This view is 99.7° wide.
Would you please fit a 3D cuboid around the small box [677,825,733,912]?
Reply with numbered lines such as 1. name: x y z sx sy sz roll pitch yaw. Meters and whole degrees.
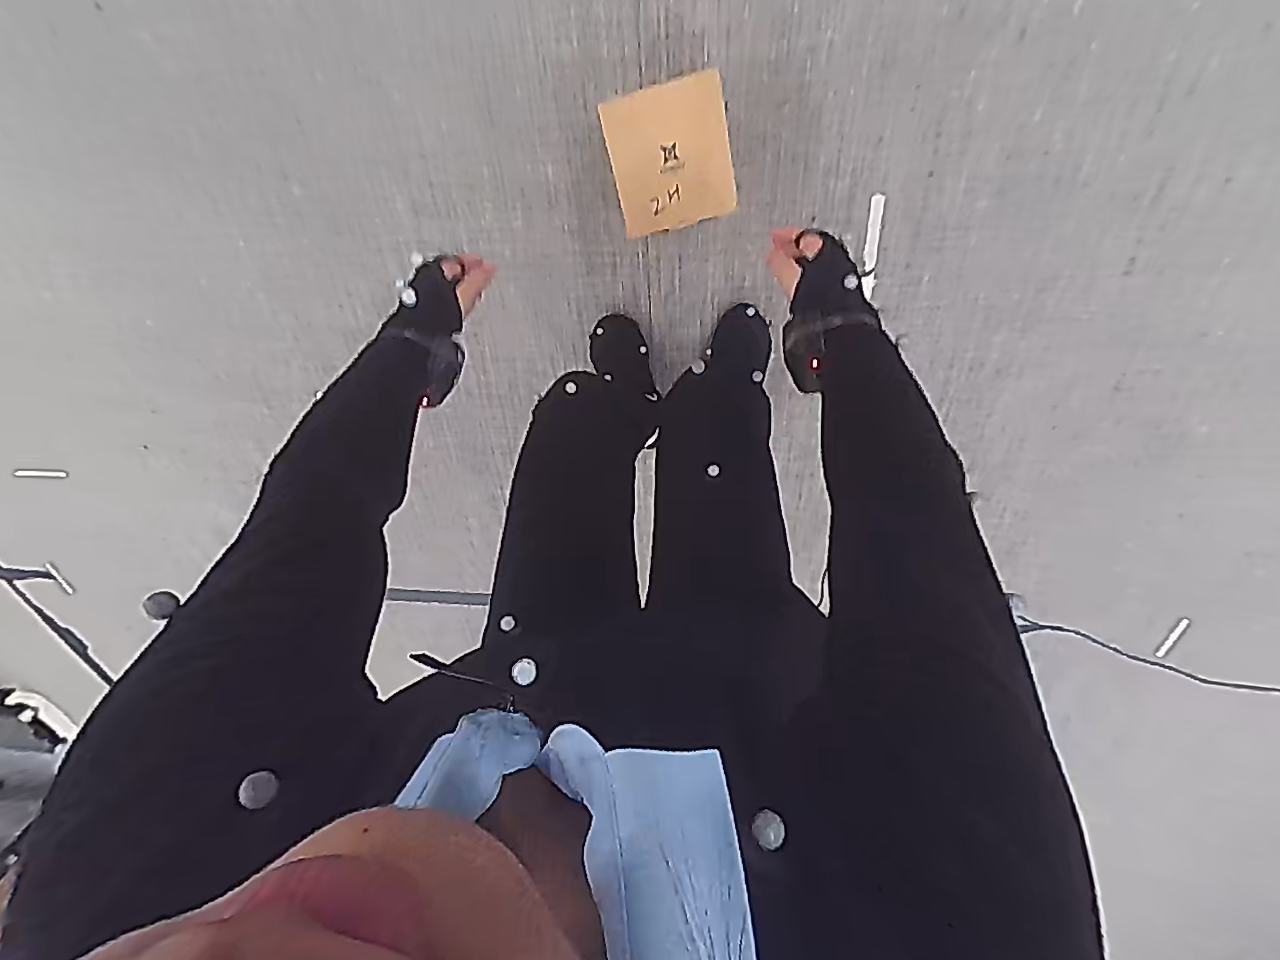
1. small box: 0.210 1.228 1.713 0.168 0.176 0.179 -3 122 9

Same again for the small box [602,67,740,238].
1. small box: 0.053 -0.486 0.813 0.168 0.176 0.179 -8 122 13
